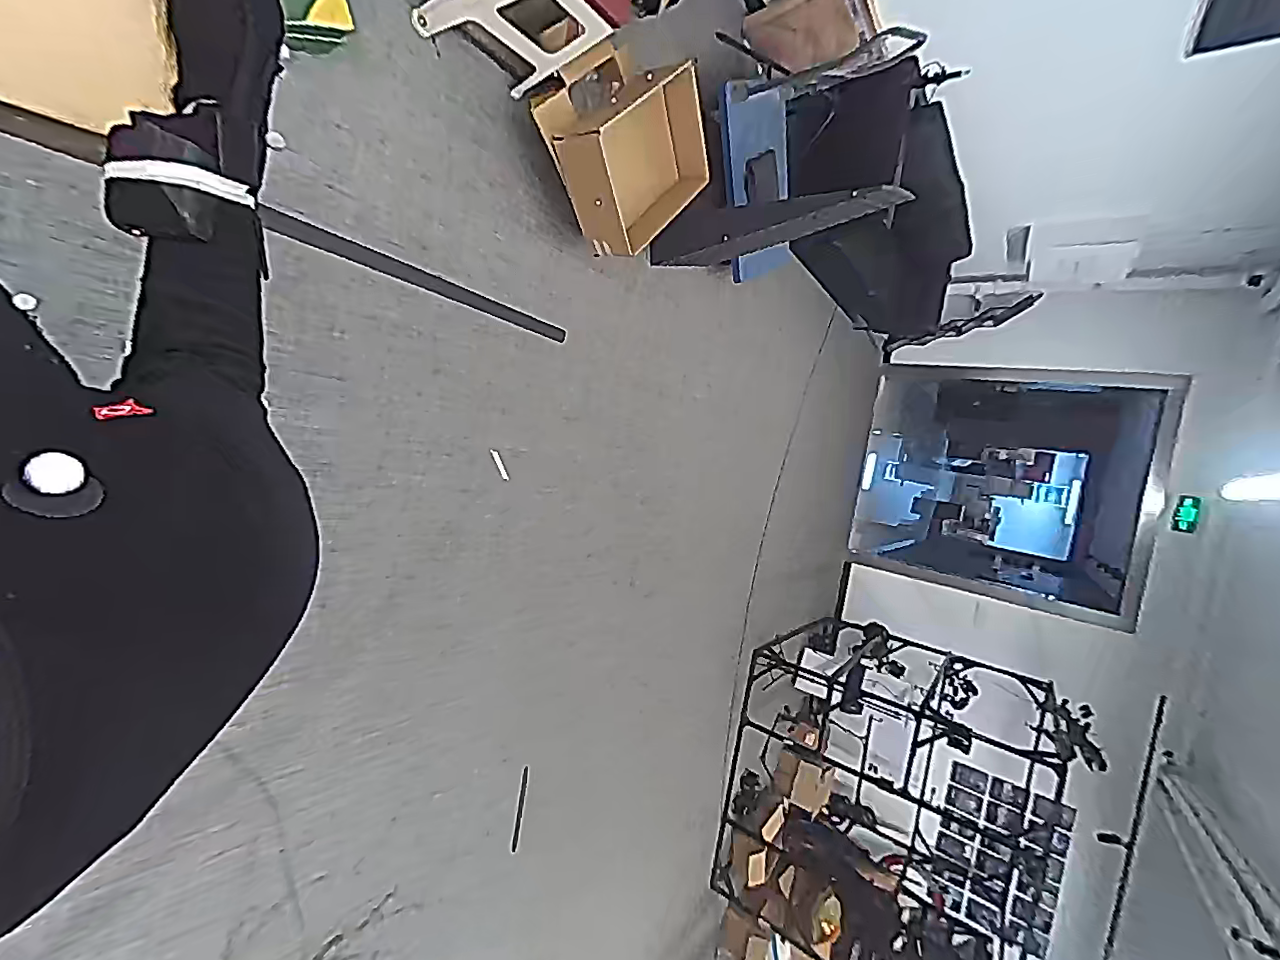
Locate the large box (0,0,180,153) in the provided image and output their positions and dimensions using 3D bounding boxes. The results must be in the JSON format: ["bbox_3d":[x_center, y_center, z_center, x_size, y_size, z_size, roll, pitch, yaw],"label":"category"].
[{"bbox_3d":[-0.534,-0.412,0.267,0.408,0.320,0.320,-8,117,-57],"label":"large box"}]
